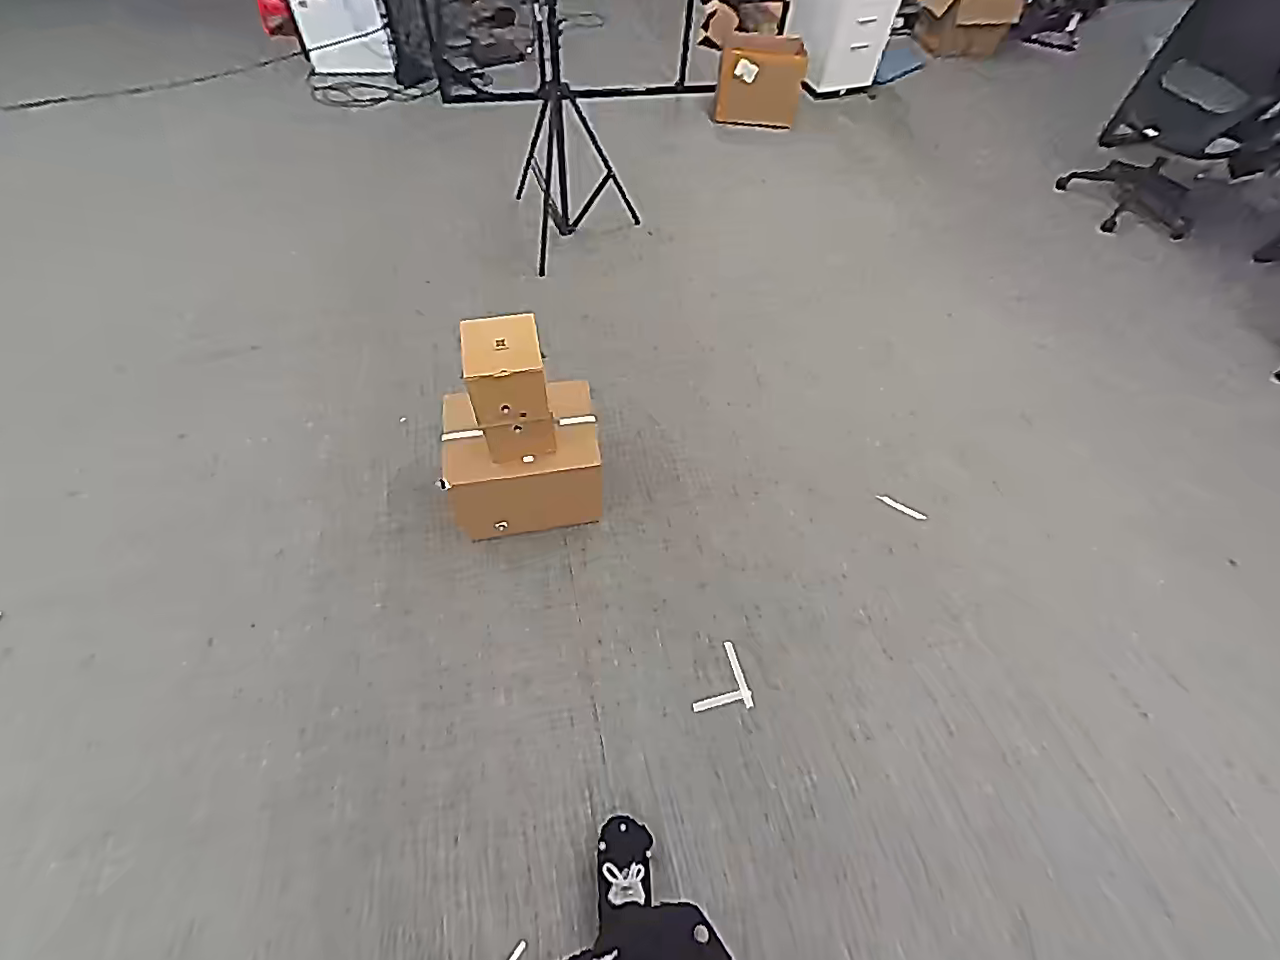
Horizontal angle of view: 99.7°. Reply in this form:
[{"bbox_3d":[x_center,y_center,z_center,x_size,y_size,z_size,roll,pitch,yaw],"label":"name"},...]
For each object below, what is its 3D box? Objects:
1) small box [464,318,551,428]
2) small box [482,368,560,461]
[{"bbox_3d":[-0.302,-0.244,1.244,0.168,0.176,0.179,-10,60,-9],"label":"small box"},{"bbox_3d":[-0.308,-0.164,1.385,0.179,0.176,0.168,-10,59,-11],"label":"small box"}]
